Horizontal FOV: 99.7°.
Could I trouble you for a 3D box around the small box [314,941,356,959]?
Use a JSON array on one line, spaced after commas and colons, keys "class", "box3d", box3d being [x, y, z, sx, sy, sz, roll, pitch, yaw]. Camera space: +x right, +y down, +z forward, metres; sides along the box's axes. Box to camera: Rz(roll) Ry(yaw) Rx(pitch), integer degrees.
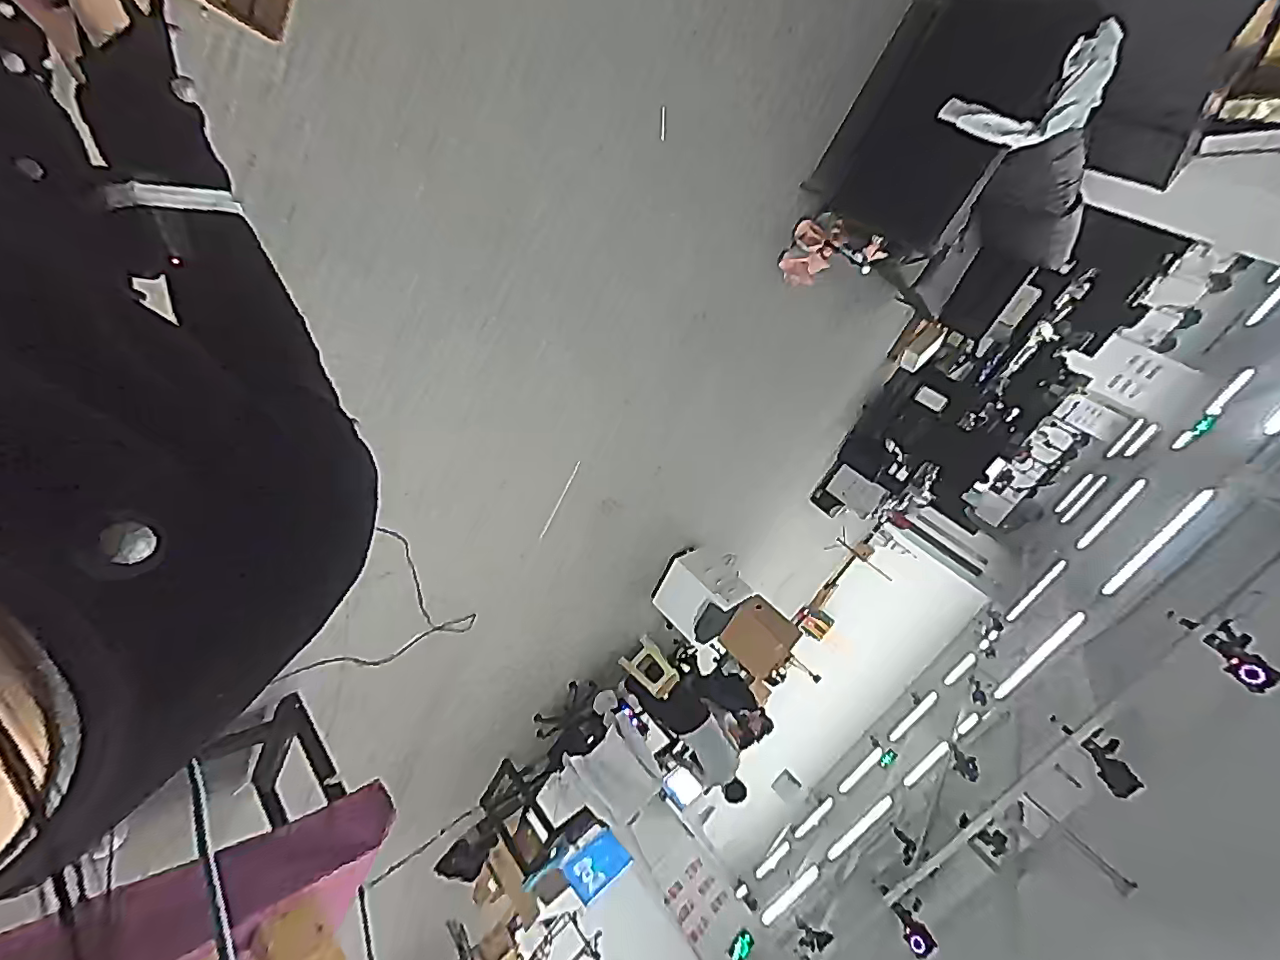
[{"class": "small box", "box3d": [-0.955, 1.553, 1.631, 0.168, 0.176, 0.179, -6, 132, -51]}]
